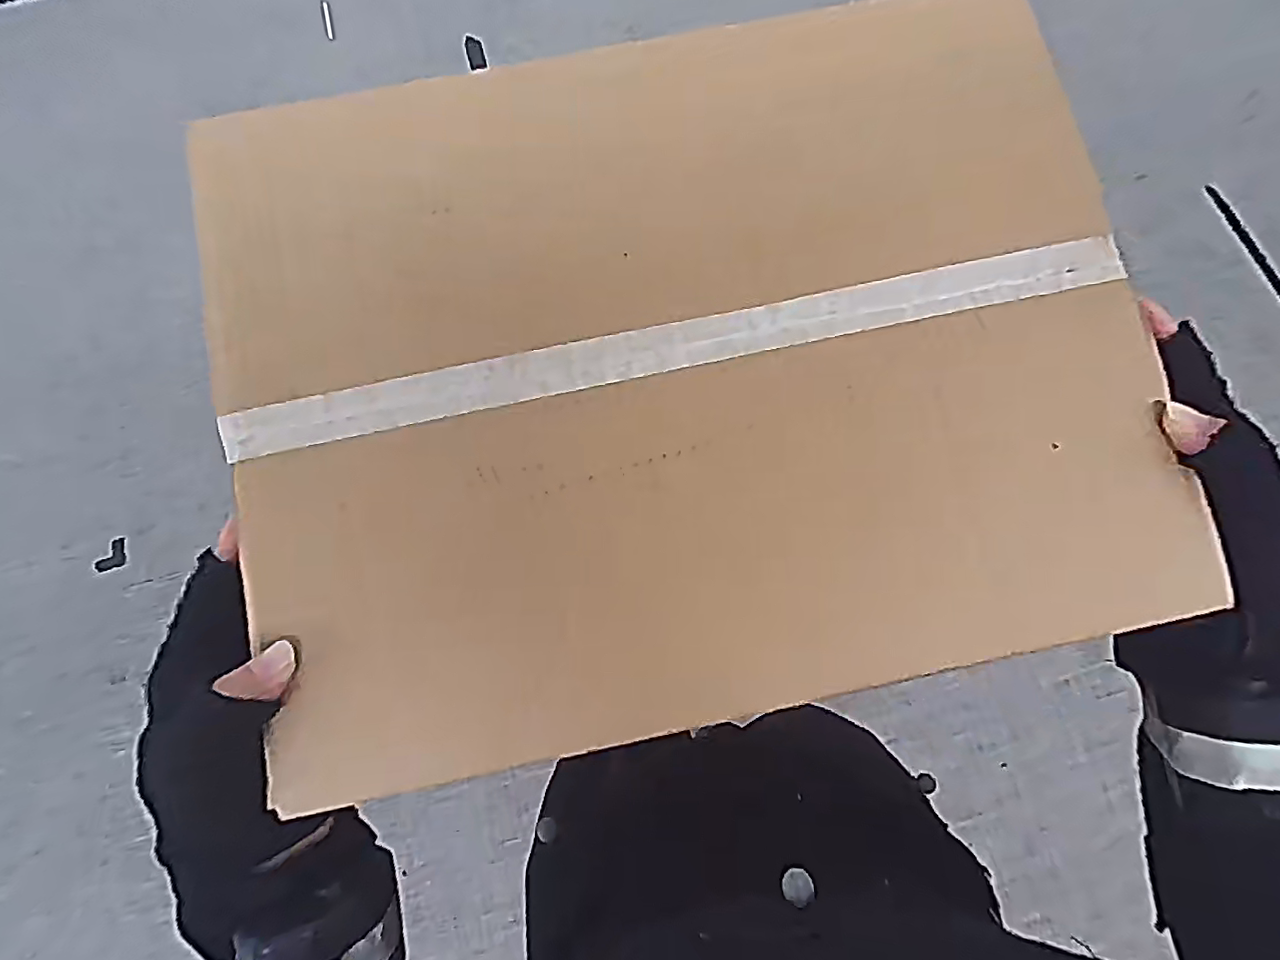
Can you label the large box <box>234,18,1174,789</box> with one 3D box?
[{"bbox_3d":[0.017,-0.034,0.406,0.408,0.320,0.320,-12,83,-2],"label":"large box"}]
